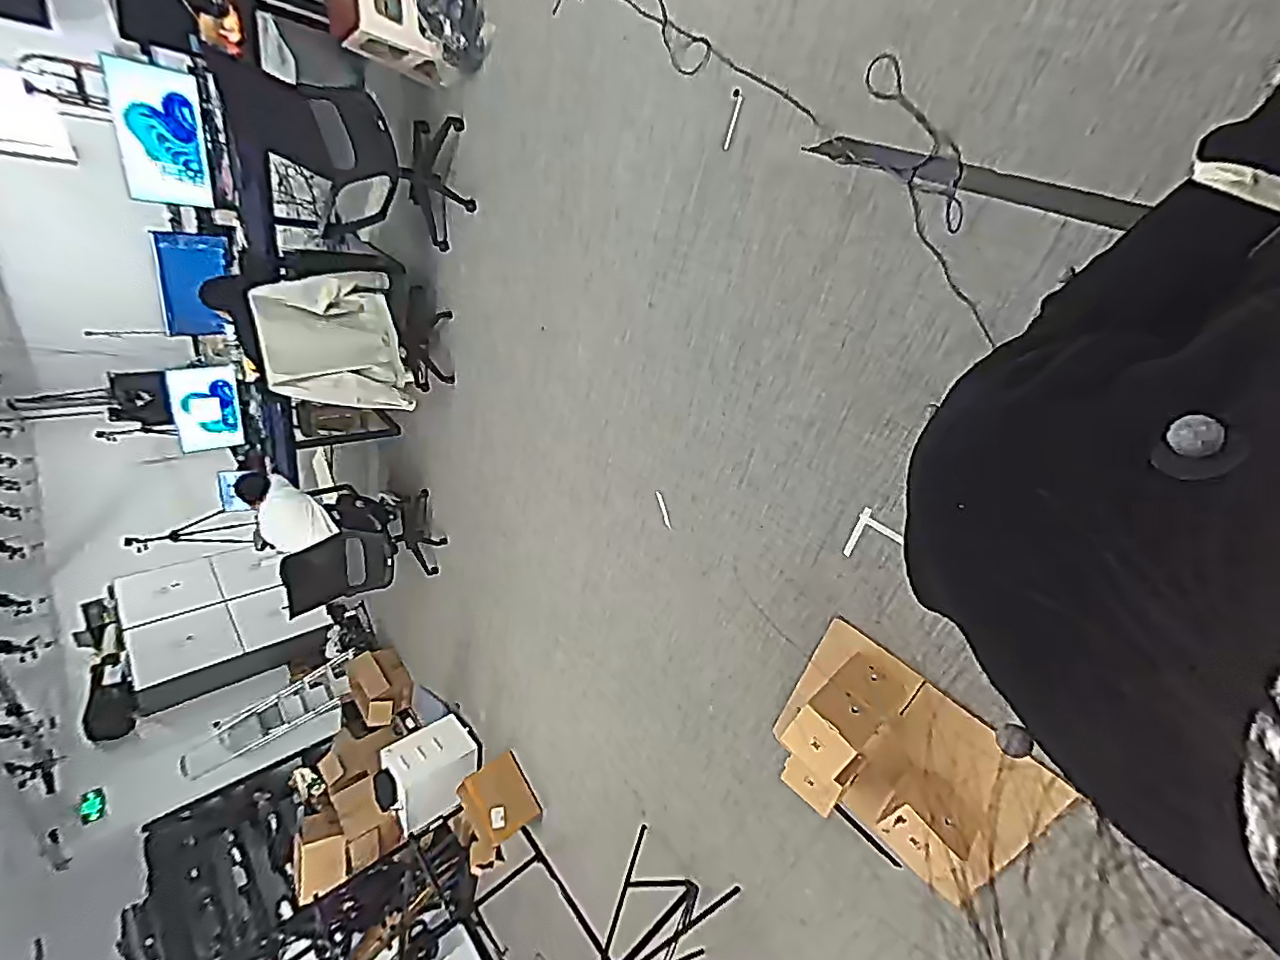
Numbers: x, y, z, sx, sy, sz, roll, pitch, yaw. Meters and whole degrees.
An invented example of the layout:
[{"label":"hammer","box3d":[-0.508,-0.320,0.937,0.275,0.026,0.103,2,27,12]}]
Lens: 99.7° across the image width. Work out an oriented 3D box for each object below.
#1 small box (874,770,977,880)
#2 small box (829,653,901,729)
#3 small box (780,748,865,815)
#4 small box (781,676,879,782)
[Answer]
[{"label":"small box","box3d":[0.814,0.974,1.536,0.179,0.176,0.168,44,129,26]},{"label":"small box","box3d":[0.648,0.657,1.618,0.168,0.176,0.179,37,125,32]},{"label":"small box","box3d":[0.594,0.927,1.758,0.179,0.176,0.168,33,125,36]},{"label":"small box","box3d":[0.532,0.688,1.508,0.168,0.176,0.179,41,127,31]}]
